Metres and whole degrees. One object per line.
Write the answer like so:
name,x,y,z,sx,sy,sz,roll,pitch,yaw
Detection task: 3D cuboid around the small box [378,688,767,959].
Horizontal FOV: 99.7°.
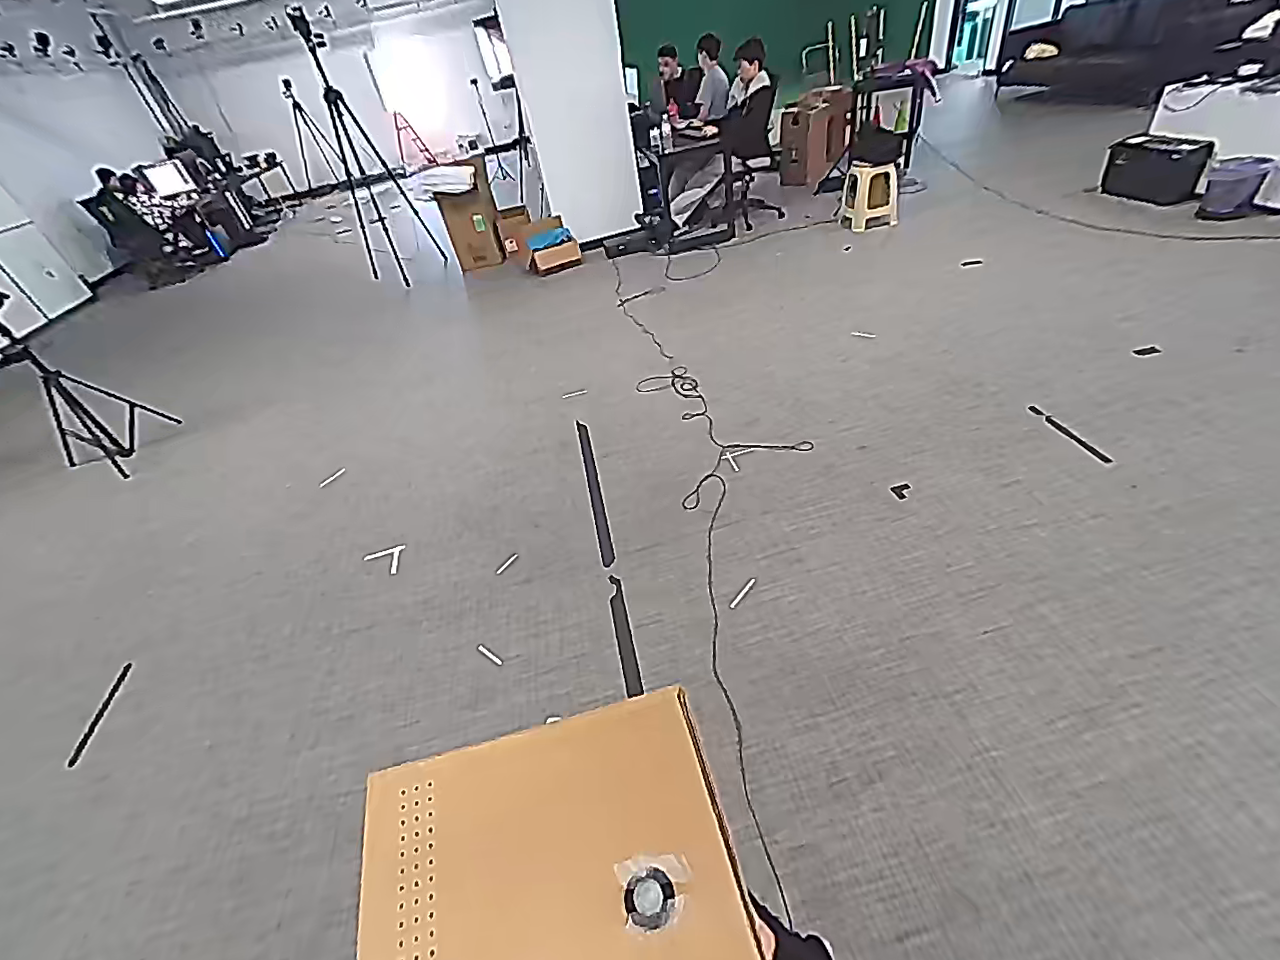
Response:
small box,-0.032,0.247,0.297,0.176,0.168,0.179,-14,51,-5
